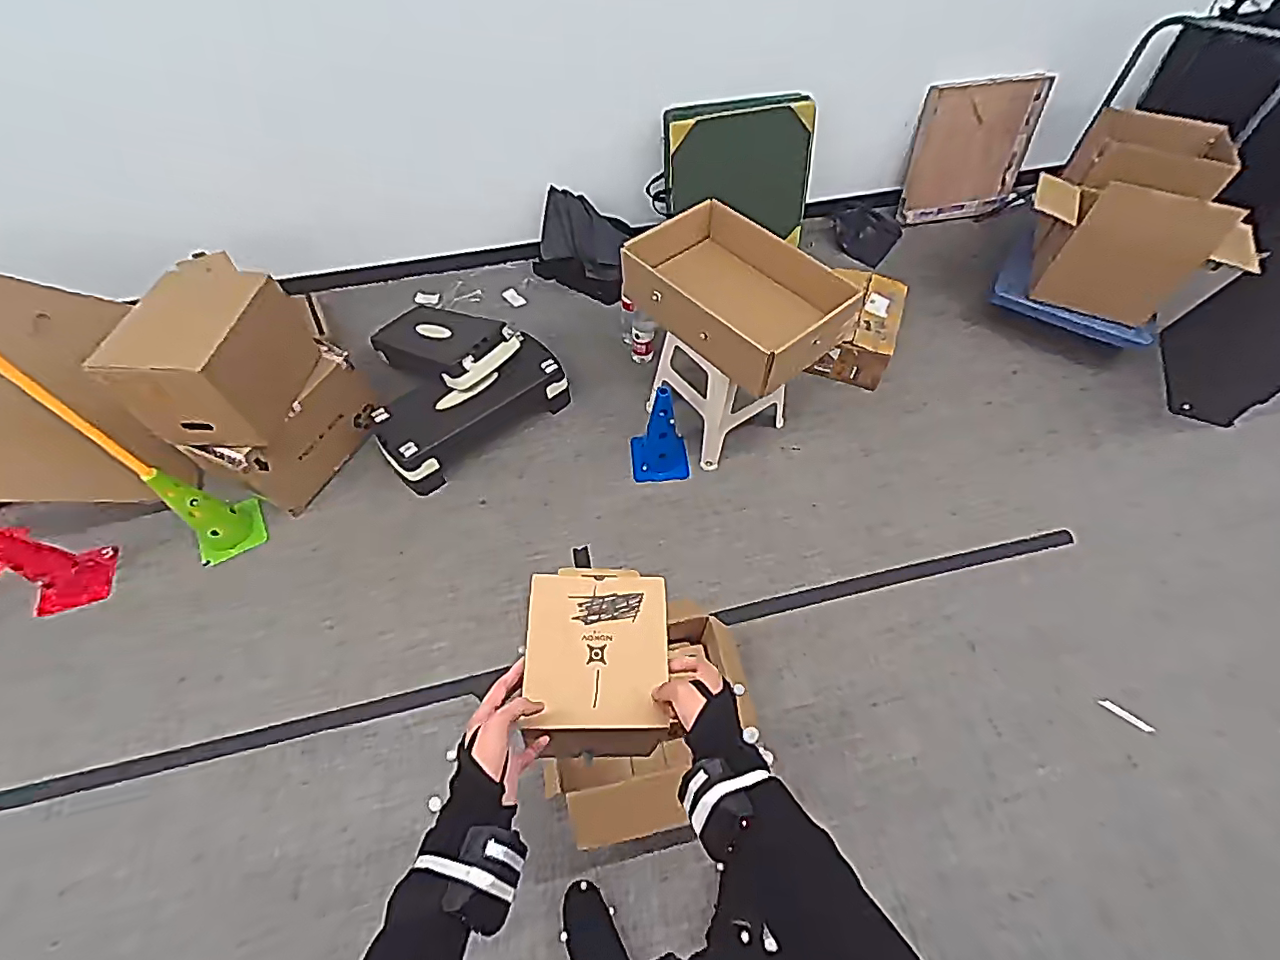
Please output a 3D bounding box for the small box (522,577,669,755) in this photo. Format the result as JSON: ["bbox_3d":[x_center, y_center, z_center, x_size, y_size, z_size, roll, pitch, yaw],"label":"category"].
[{"bbox_3d":[-0.060,0.245,0.705,0.168,0.176,0.179,3,54,-7],"label":"small box"}]
